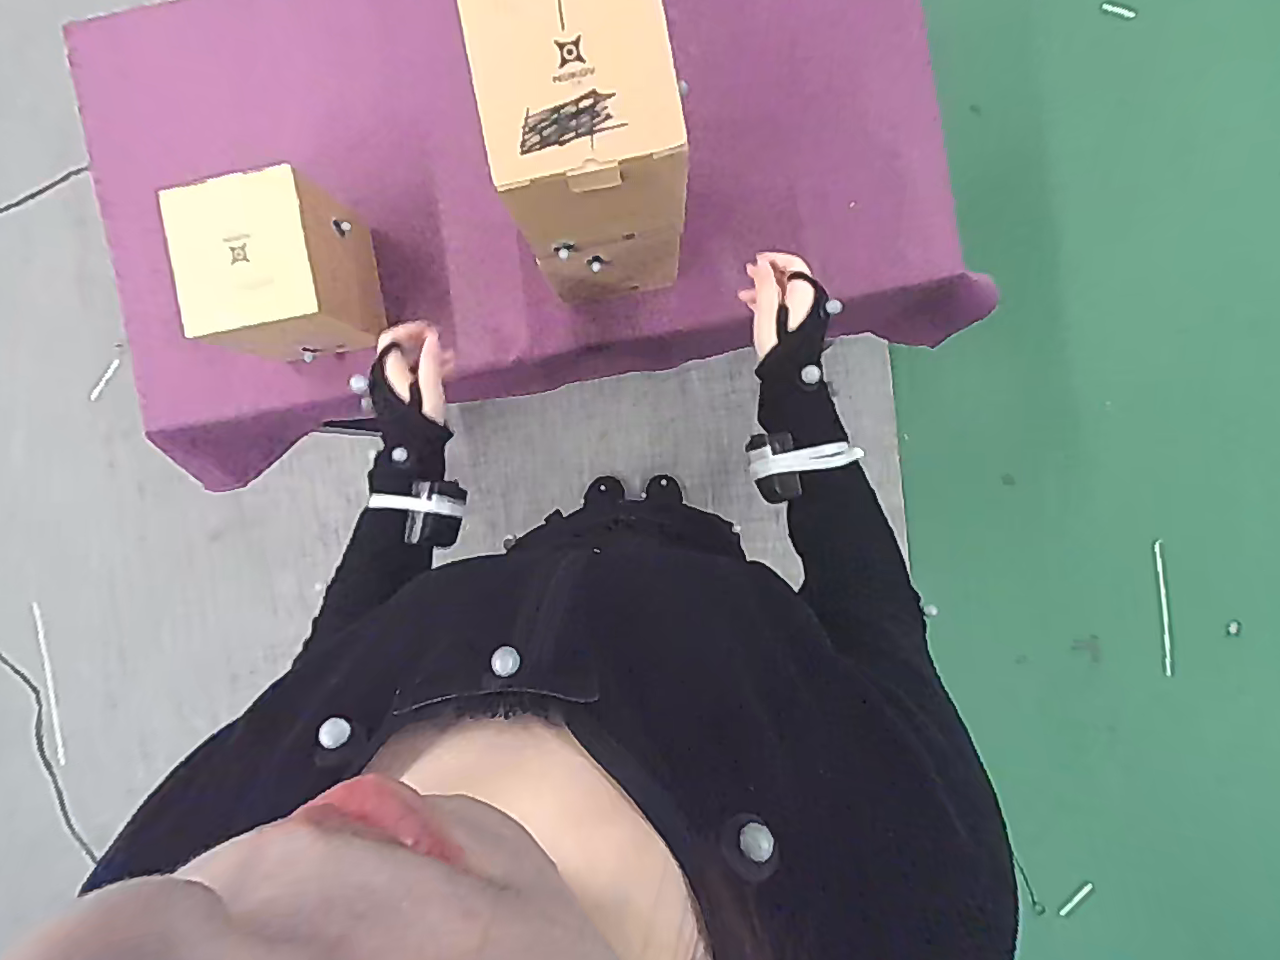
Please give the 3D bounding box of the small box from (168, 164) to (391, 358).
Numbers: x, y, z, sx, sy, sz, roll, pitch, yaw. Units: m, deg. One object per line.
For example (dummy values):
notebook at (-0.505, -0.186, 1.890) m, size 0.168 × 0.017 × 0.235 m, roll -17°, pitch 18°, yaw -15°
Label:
small box at (-0.456, -0.273, 0.710) m, size 0.168 × 0.176 × 0.179 m, roll -9°, pitch 92°, yaw 3°

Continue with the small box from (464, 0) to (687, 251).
small box at (-0.049, -0.342, 0.524) m, size 0.168 × 0.176 × 0.179 m, roll -10°, pitch 91°, yaw 3°

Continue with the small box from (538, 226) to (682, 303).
small box at (-0.042, -0.347, 0.688) m, size 0.168 × 0.176 × 0.179 m, roll -10°, pitch 91°, yaw 4°
